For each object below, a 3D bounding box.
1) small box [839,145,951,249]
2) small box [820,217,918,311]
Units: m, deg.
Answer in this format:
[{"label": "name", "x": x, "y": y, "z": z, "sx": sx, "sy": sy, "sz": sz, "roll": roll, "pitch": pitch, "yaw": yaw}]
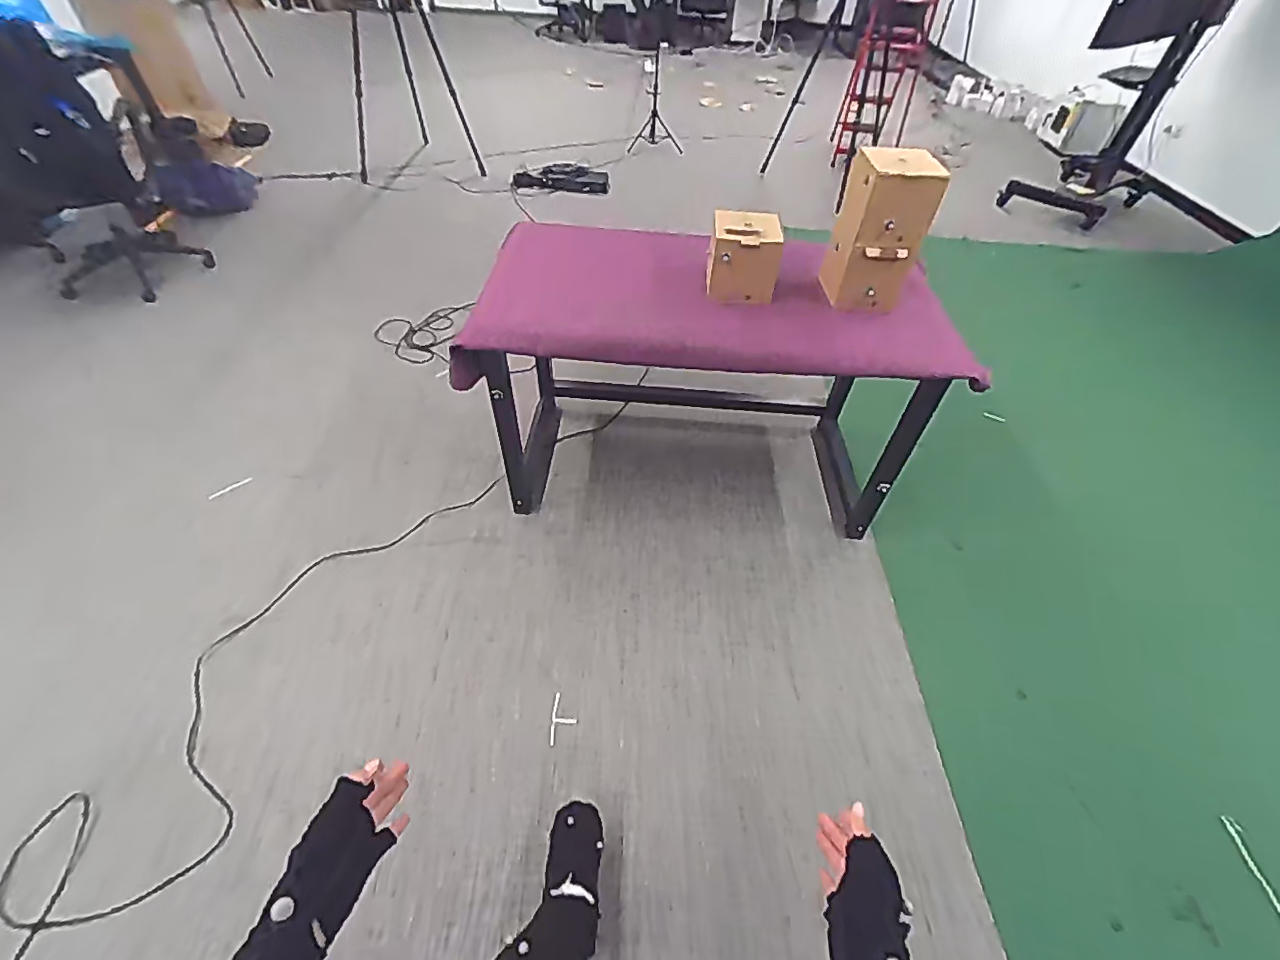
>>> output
[{"label": "small box", "x": 0.597, "y": -0.676, "z": 1.295, "sx": 0.168, "sy": 0.176, "sz": 0.179, "roll": 2, "pitch": 49, "yaw": -1}, {"label": "small box", "x": 0.586, "y": -0.564, "z": 1.413, "sx": 0.168, "sy": 0.176, "sz": 0.179, "roll": 1, "pitch": 48, "yaw": -1}]
